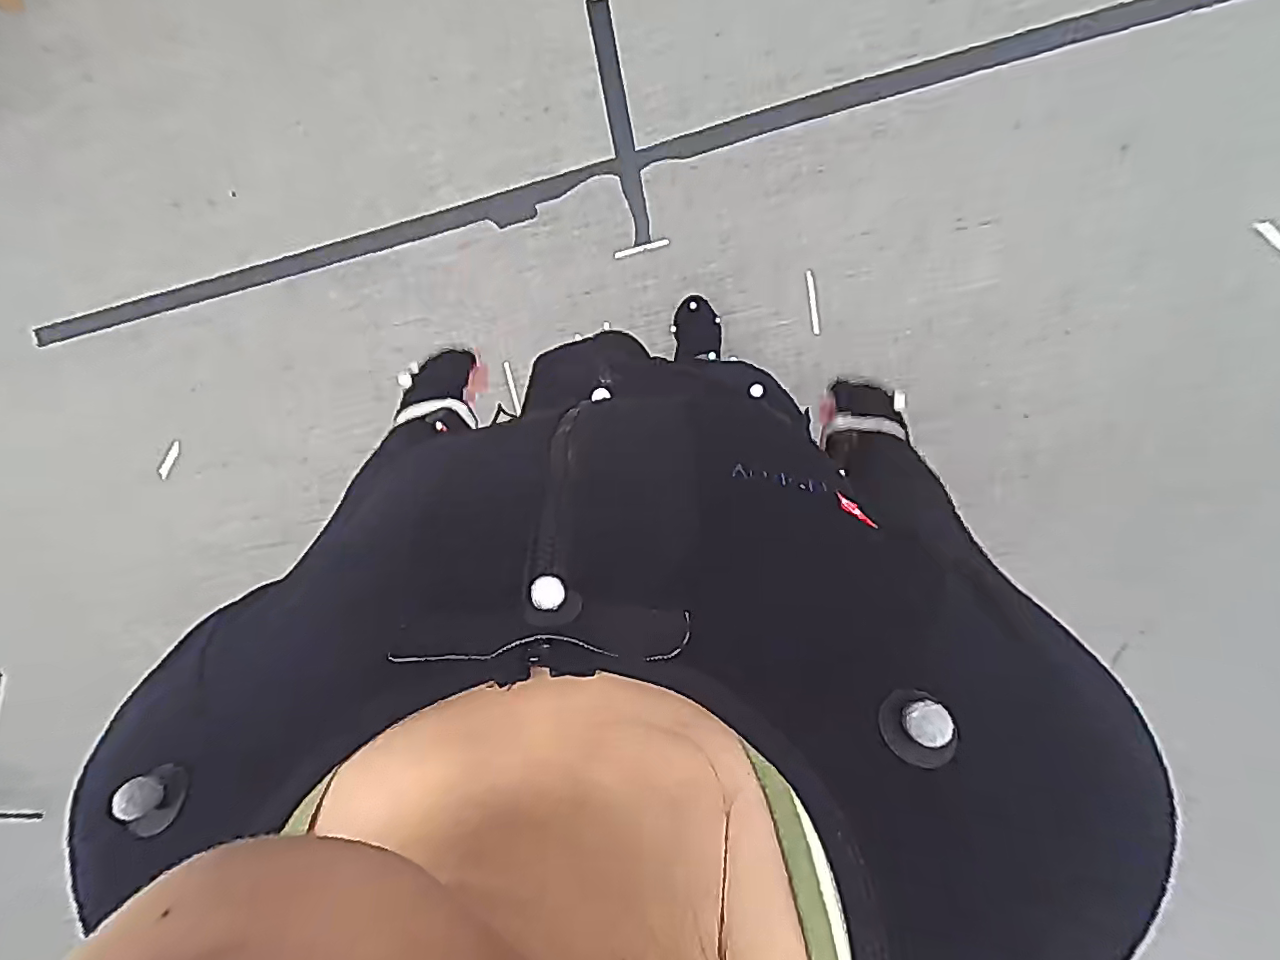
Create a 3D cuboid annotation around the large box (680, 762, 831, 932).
[{"bbox_3d":[0.335,1.092,1.633,0.408,0.320,0.320,-4,105,6],"label":"large box"}]
